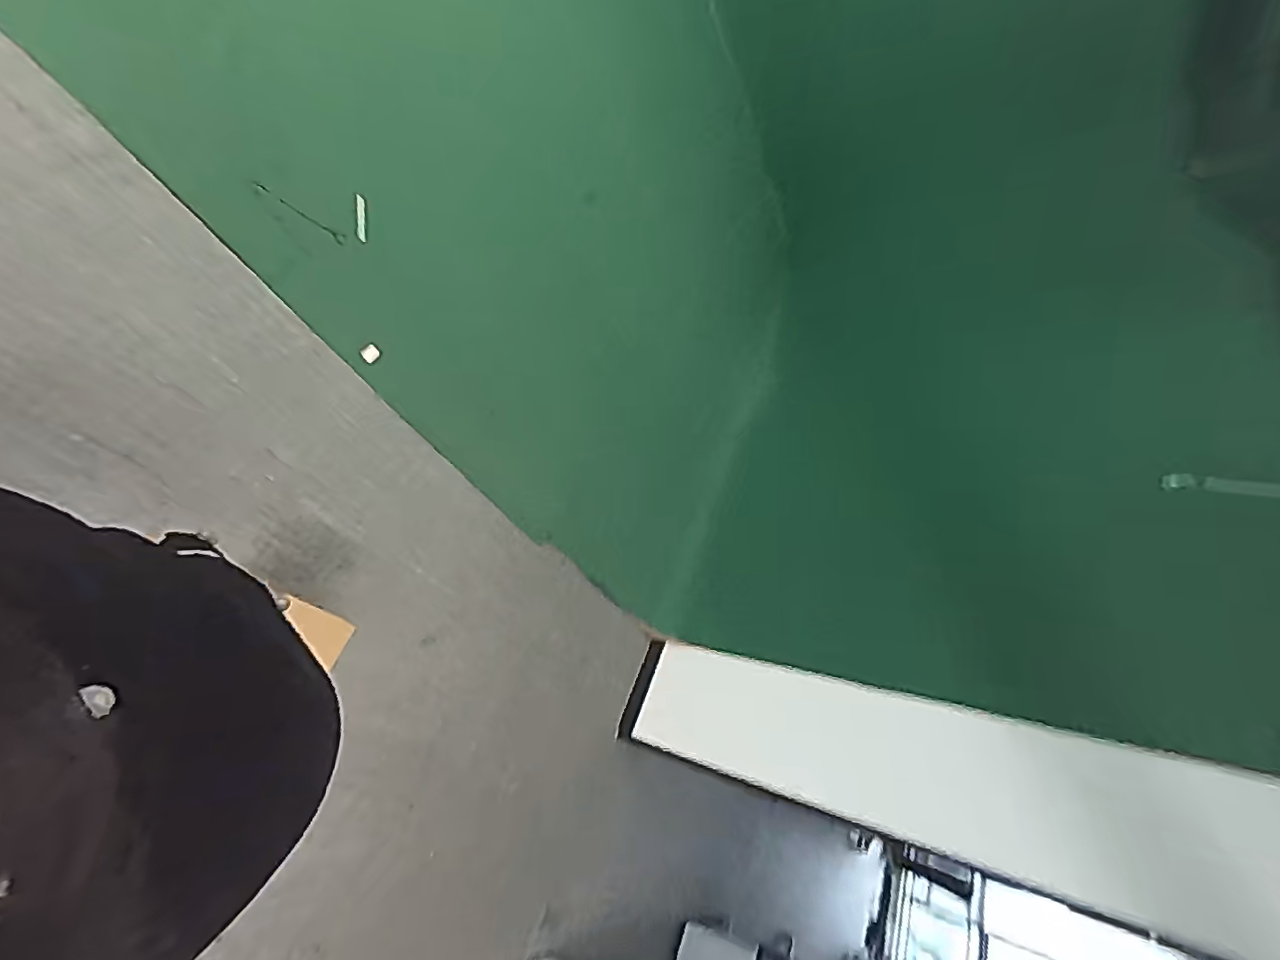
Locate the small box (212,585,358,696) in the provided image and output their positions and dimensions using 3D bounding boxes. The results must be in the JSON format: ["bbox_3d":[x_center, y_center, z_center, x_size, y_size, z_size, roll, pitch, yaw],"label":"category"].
[{"bbox_3d":[-0.764,0.340,1.168,0.179,0.176,0.168,49,54,-41],"label":"small box"}]
